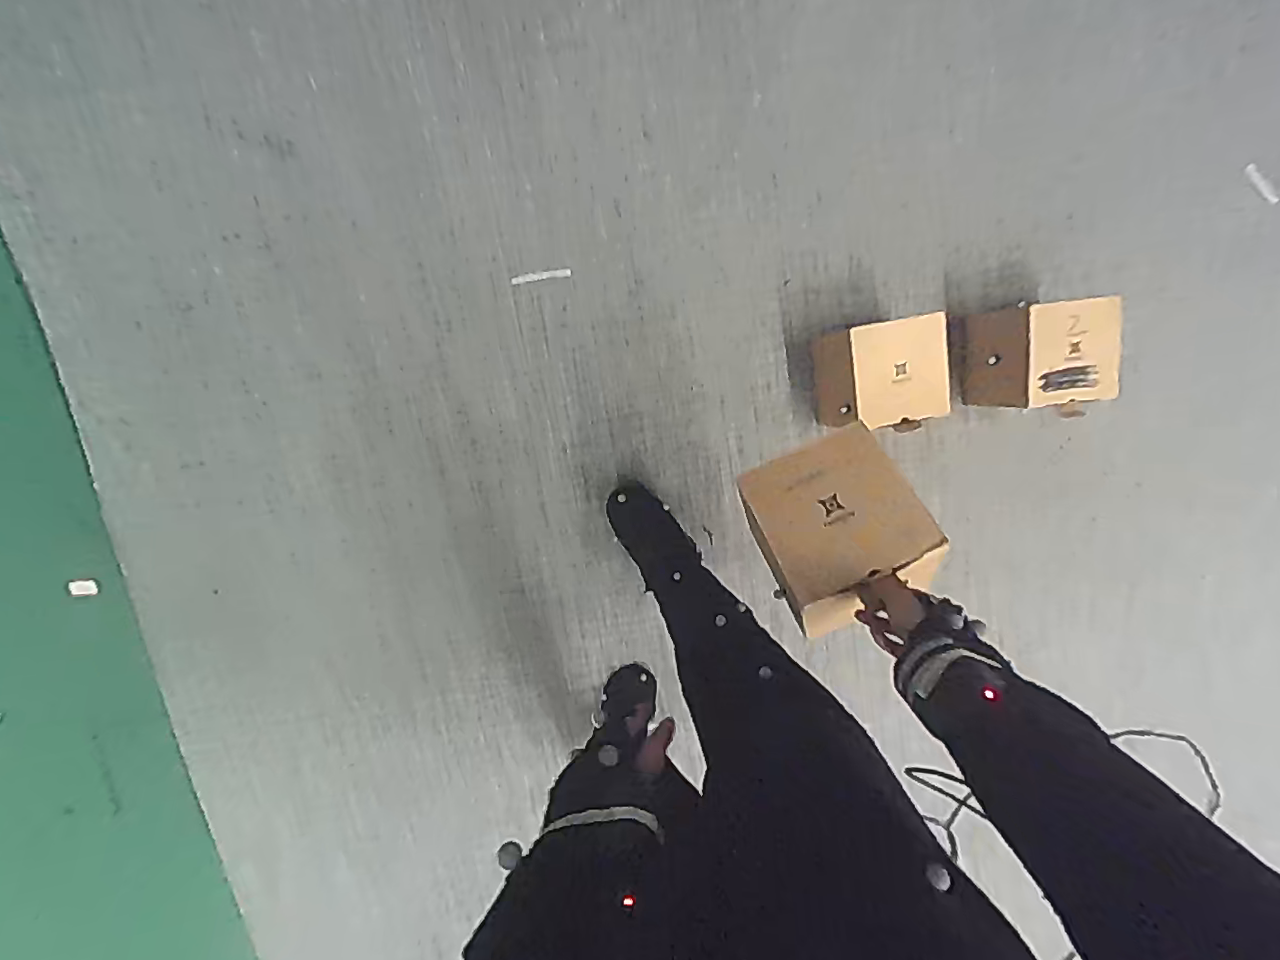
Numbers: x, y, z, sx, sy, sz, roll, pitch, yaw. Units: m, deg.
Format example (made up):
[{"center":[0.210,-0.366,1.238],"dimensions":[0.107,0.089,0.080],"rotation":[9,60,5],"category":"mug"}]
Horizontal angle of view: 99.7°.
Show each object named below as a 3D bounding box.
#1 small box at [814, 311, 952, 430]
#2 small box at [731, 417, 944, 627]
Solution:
[{"center":[0.426,-0.191,0.971],"dimensions":[0.168,0.176,0.179],"rotation":[-11,101,-3],"category":"small box"},{"center":[0.231,0.062,0.656],"dimensions":[0.168,0.176,0.179],"rotation":[-25,56,5],"category":"small box"}]
